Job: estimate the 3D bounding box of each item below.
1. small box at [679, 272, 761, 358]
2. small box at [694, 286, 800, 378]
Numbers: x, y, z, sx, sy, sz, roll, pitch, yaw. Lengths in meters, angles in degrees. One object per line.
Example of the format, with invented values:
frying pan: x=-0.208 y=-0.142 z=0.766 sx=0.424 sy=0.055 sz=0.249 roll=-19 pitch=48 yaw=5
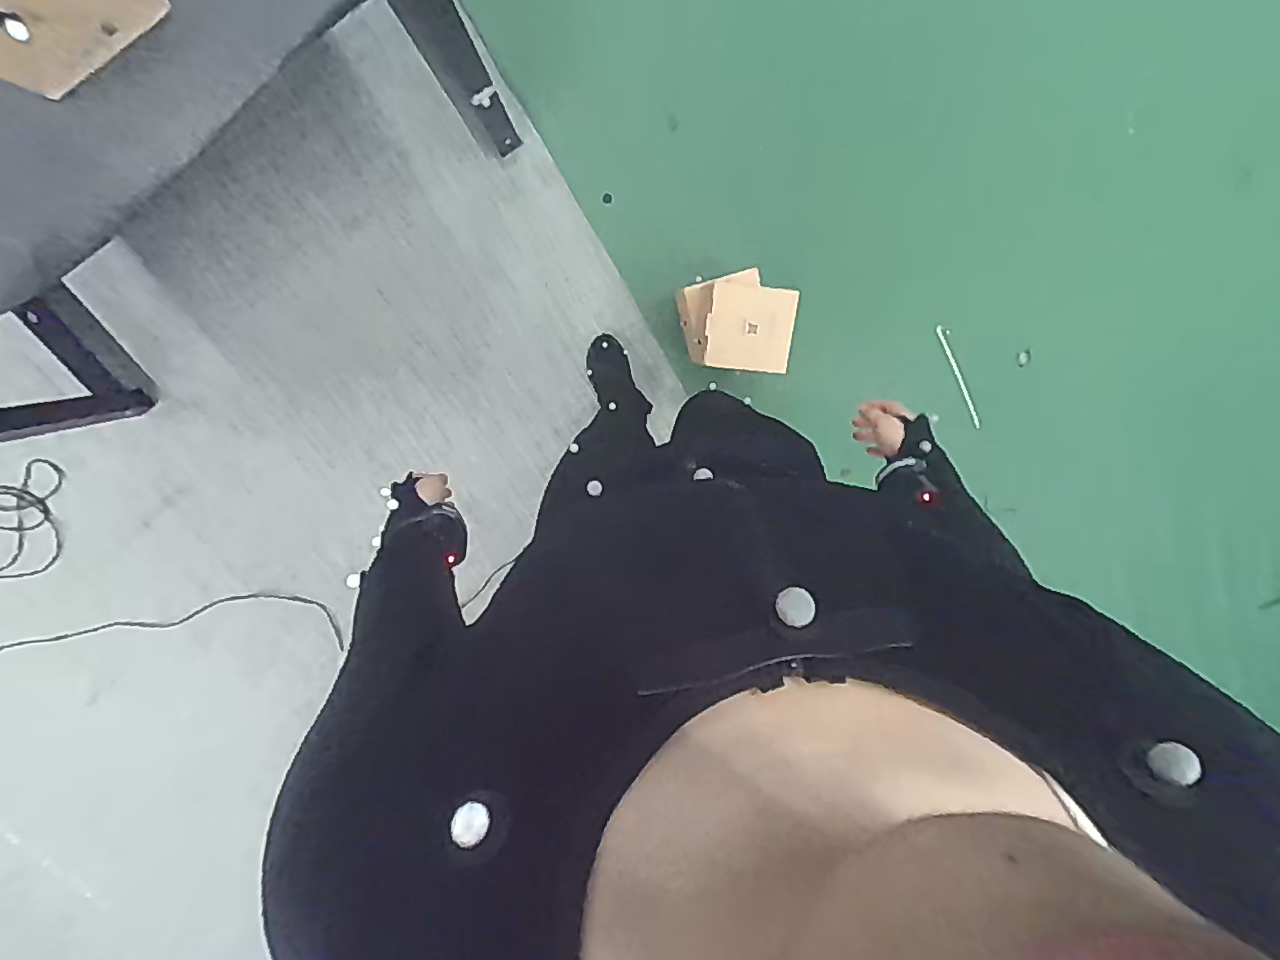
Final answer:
small box: x=0.196 y=-0.389 z=1.304 sx=0.179 sy=0.176 sz=0.168 roll=-16 pitch=107 yaw=1
small box: x=0.218 y=-0.316 z=1.157 sx=0.179 sy=0.176 sz=0.168 roll=4 pitch=107 yaw=-5
